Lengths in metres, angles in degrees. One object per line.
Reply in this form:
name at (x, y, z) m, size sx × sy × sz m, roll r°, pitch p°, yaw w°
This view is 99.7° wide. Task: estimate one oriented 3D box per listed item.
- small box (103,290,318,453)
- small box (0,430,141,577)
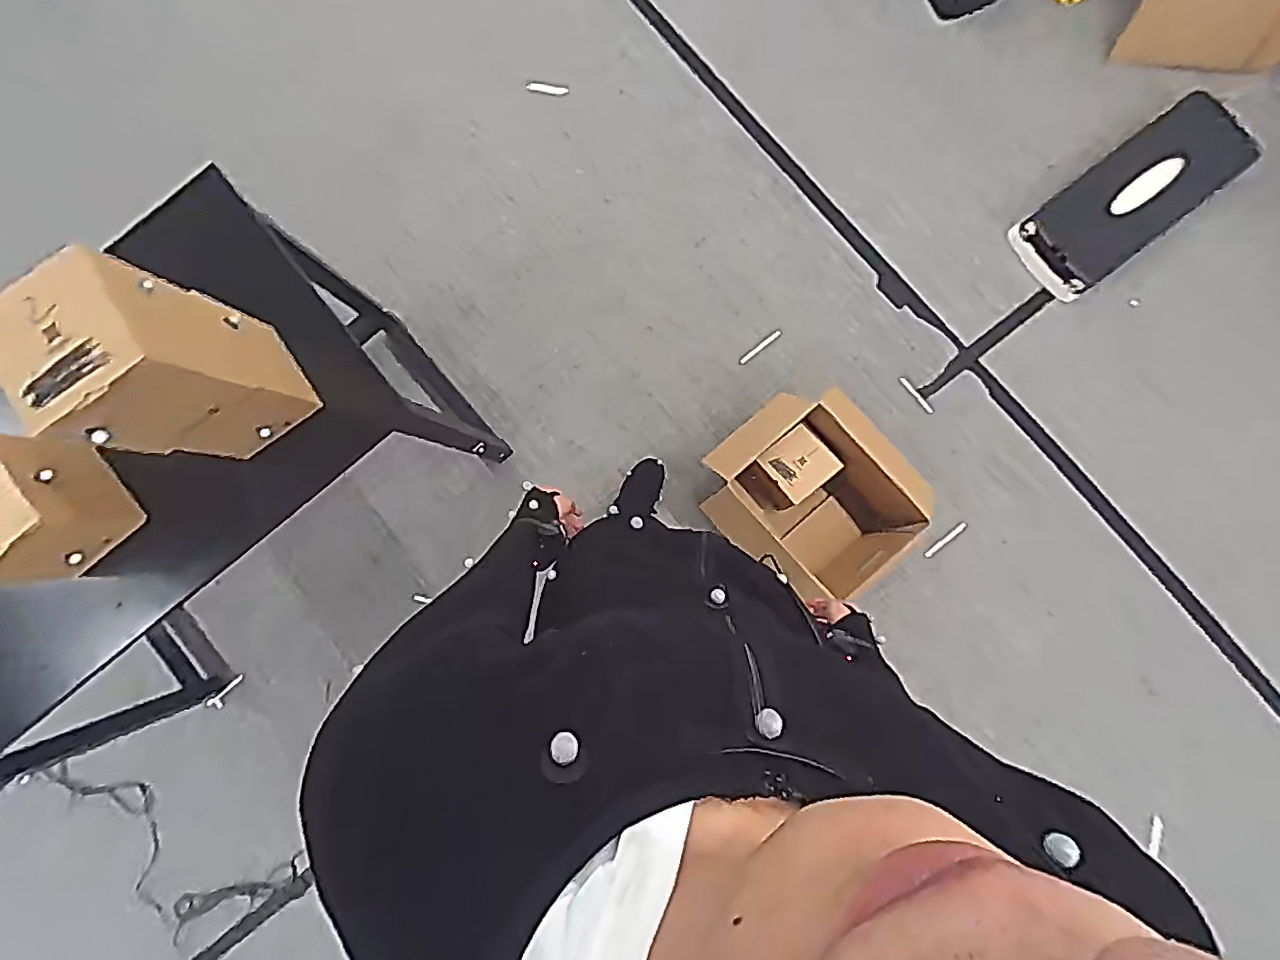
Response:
small box at (-0.671, -0.160, 0.866) m, size 0.168 × 0.176 × 0.179 m, roll -34°, pitch 86°, yaw 1°
small box at (-0.981, 0.045, 0.867) m, size 0.168 × 0.176 × 0.179 m, roll -40°, pitch 86°, yaw -1°
